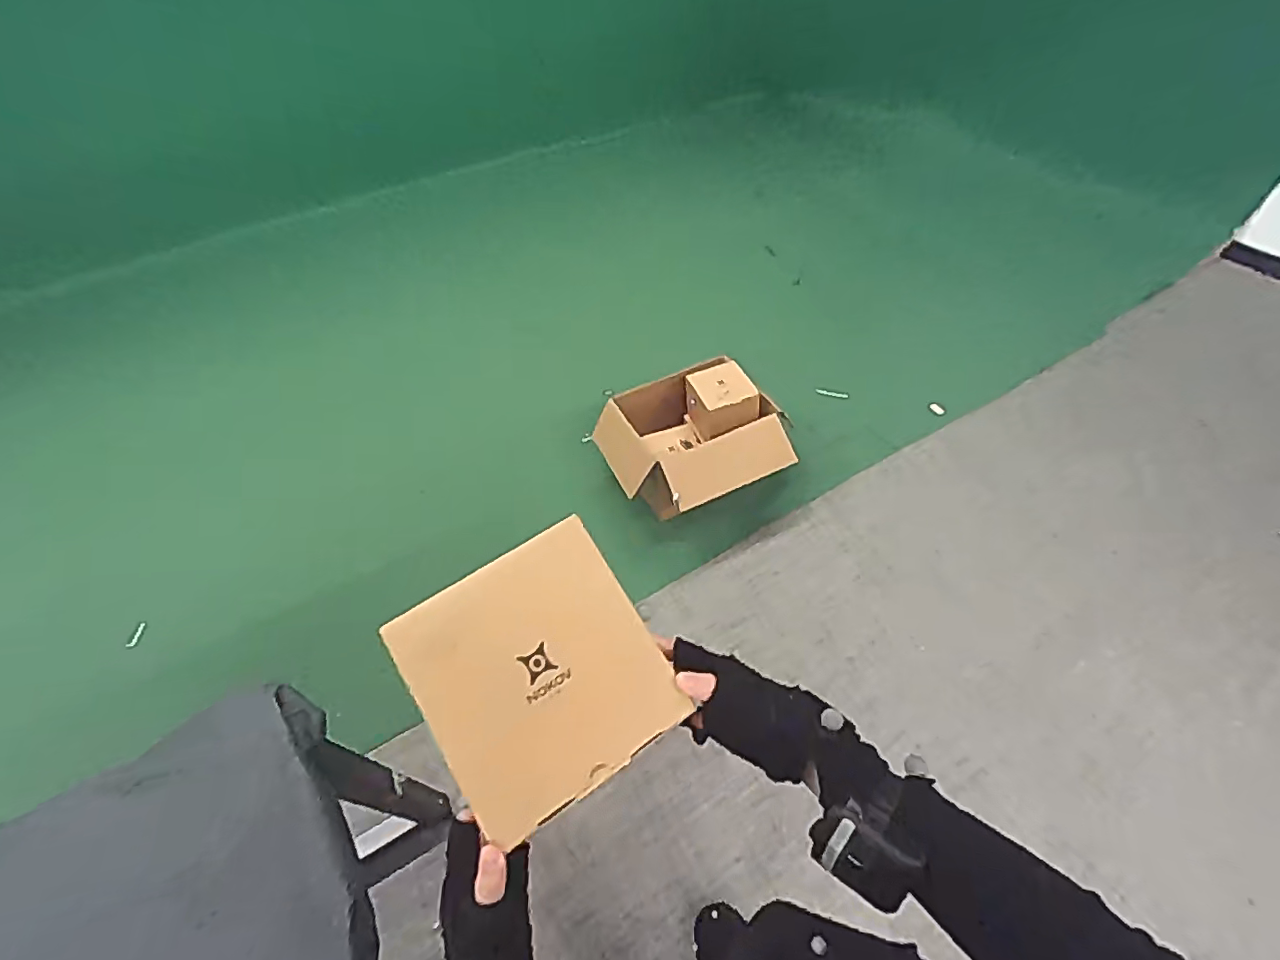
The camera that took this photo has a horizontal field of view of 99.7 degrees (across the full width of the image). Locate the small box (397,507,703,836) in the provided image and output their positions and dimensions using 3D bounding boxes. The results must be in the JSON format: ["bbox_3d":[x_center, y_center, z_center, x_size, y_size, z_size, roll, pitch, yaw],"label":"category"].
[{"bbox_3d":[-0.076,0.153,0.469,0.168,0.176,0.179,-30,80,-16],"label":"small box"}]
